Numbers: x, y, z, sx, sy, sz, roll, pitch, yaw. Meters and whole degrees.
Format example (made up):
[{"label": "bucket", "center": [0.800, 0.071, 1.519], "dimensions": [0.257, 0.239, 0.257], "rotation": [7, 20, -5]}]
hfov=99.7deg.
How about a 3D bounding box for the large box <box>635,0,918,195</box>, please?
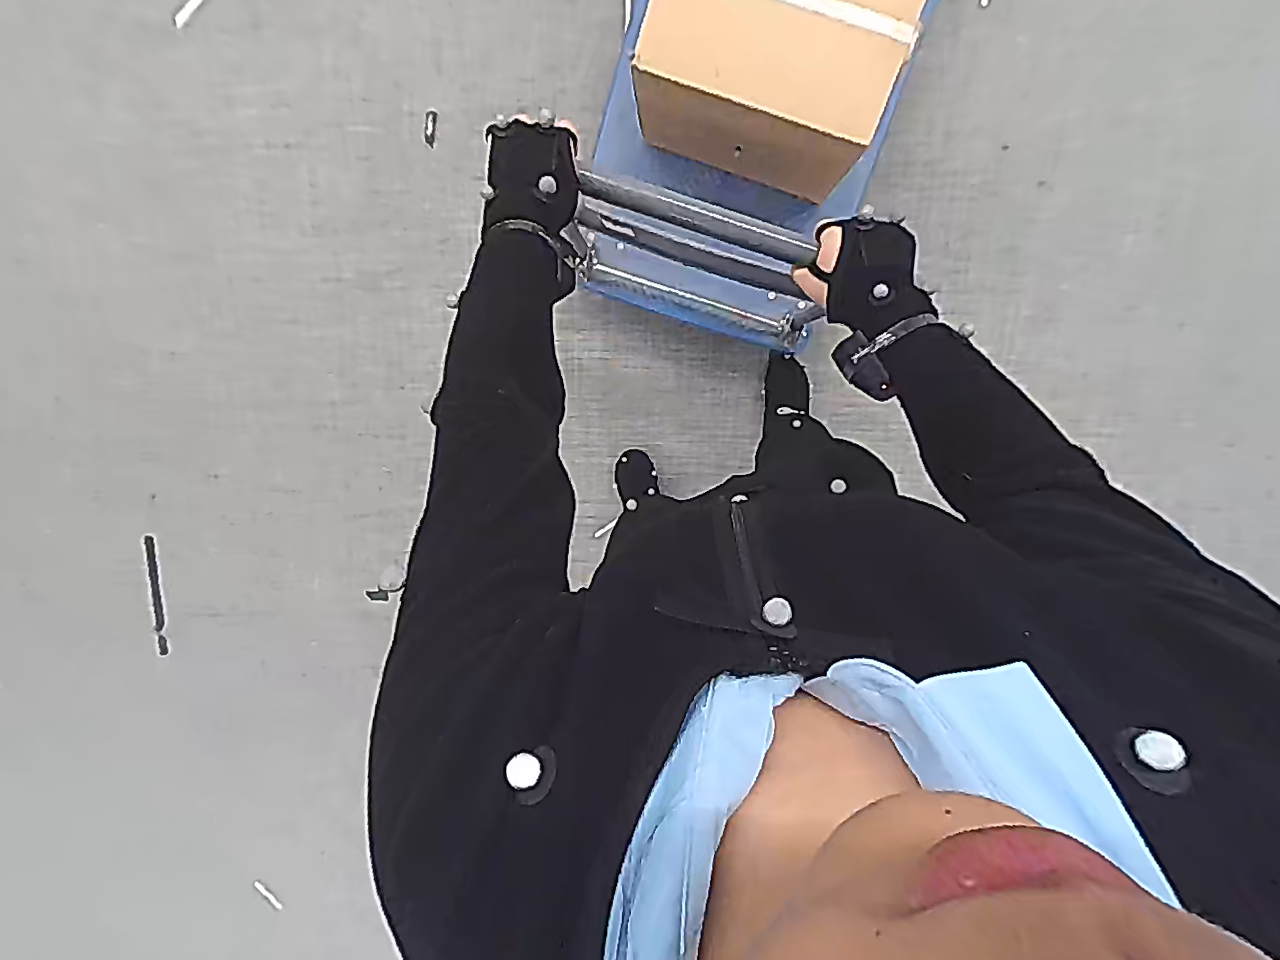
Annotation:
[{"label": "large box", "center": [0.239, -0.779, 0.993], "dimensions": [0.408, 0.320, 0.320], "rotation": [19, 102, 1]}]
